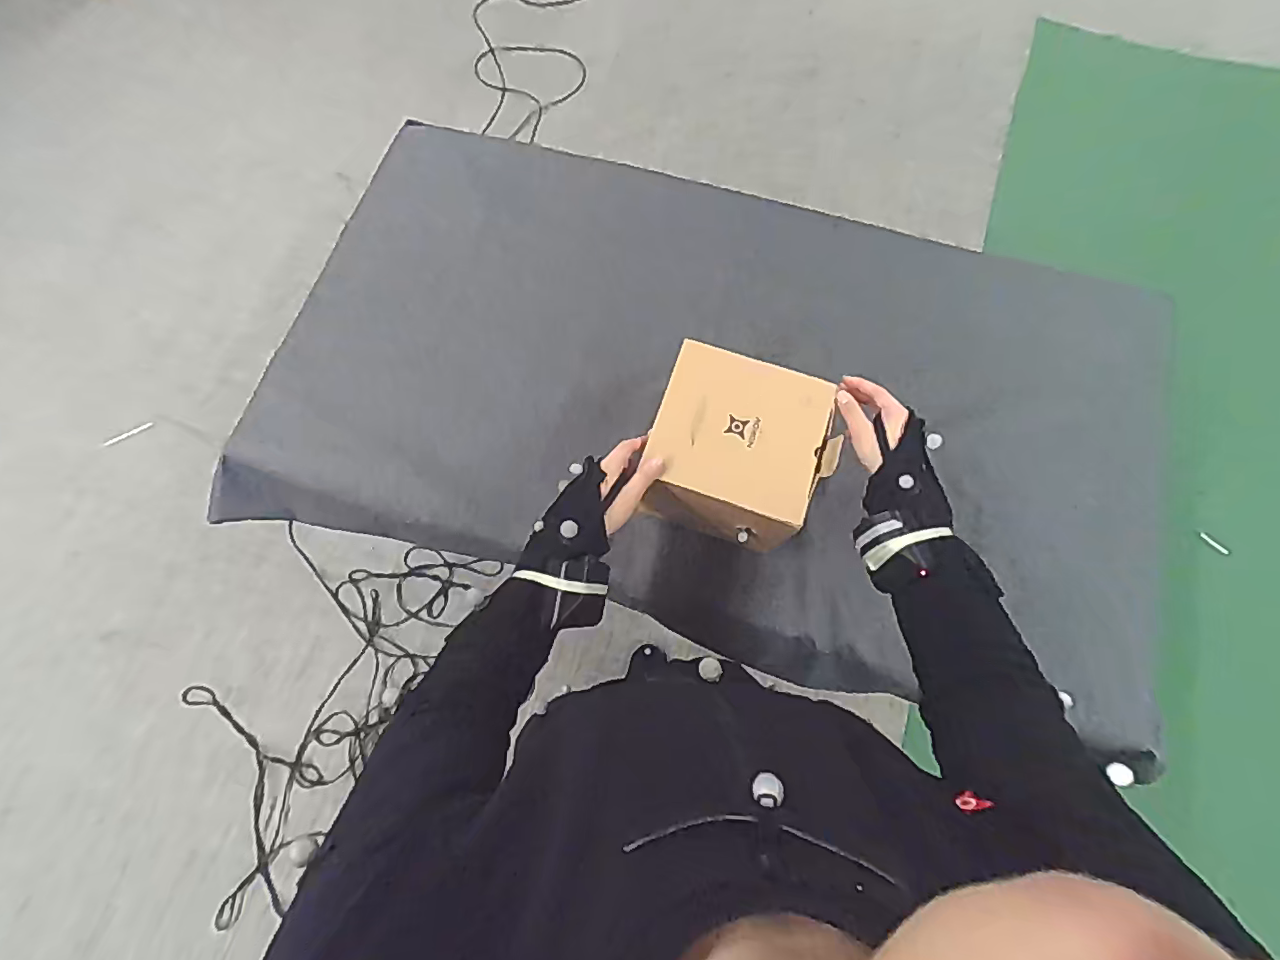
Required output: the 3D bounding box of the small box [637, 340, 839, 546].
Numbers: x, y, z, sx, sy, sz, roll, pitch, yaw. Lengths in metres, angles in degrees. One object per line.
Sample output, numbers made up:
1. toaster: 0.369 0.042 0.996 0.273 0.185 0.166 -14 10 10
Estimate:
1. small box: 0.105 -0.031 0.633 0.179 0.176 0.168 17 73 7
